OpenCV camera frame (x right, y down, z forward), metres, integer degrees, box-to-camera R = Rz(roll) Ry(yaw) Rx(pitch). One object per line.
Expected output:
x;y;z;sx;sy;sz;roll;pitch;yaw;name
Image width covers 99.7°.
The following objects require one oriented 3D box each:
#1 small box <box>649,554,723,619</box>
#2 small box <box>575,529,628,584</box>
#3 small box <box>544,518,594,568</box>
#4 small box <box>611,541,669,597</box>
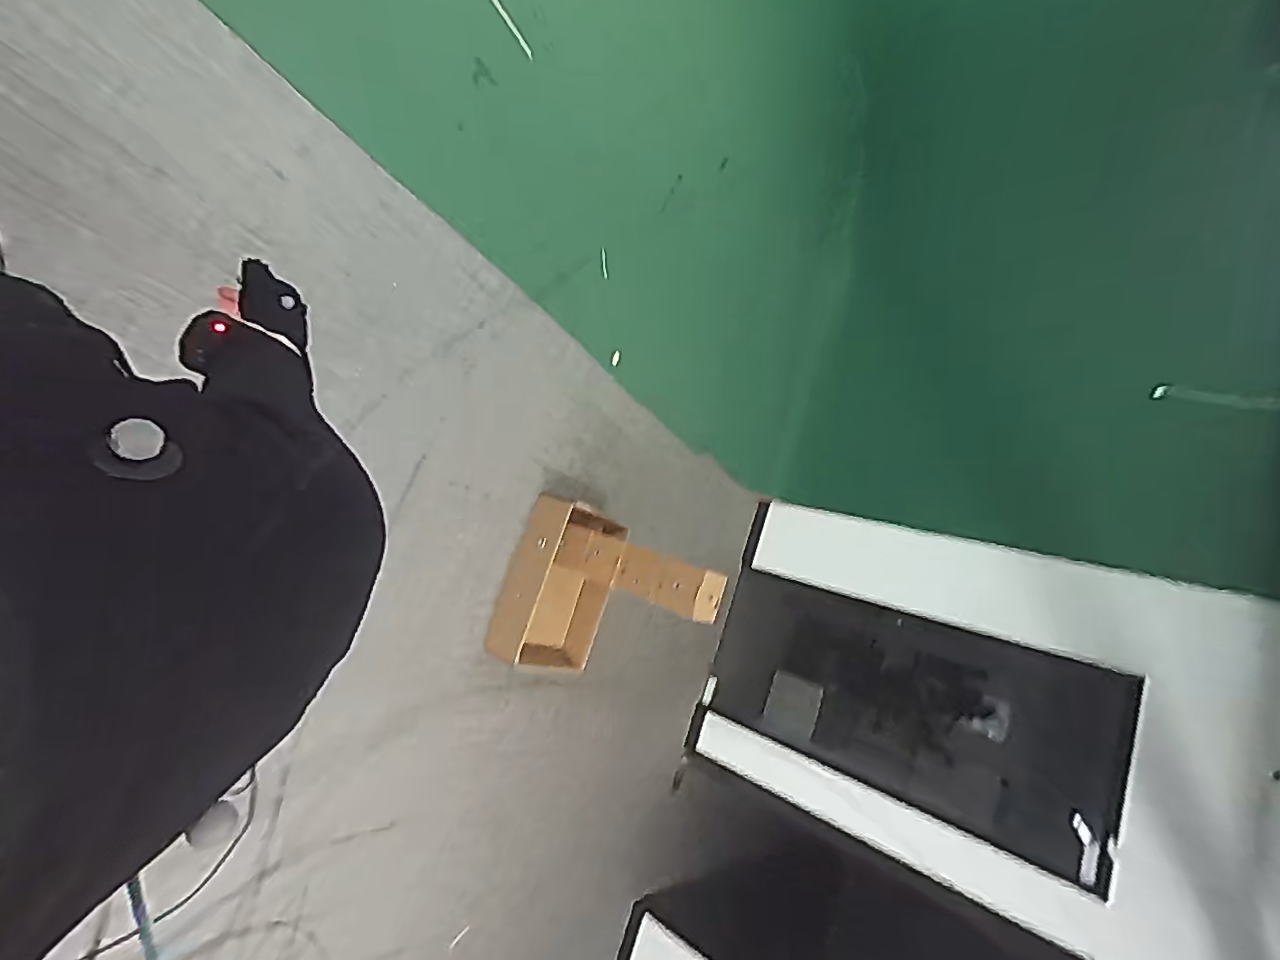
0.156;0.361;1.850;0.179;0.176;0.168;29;79;-54;small box
-0.110;0.293;2.029;0.179;0.176;0.168;32;76;-54;small box
-0.241;0.260;2.120;0.179;0.176;0.168;34;73;-54;small box
0.024;0.325;1.941;0.179;0.176;0.168;29;78;-55;small box
